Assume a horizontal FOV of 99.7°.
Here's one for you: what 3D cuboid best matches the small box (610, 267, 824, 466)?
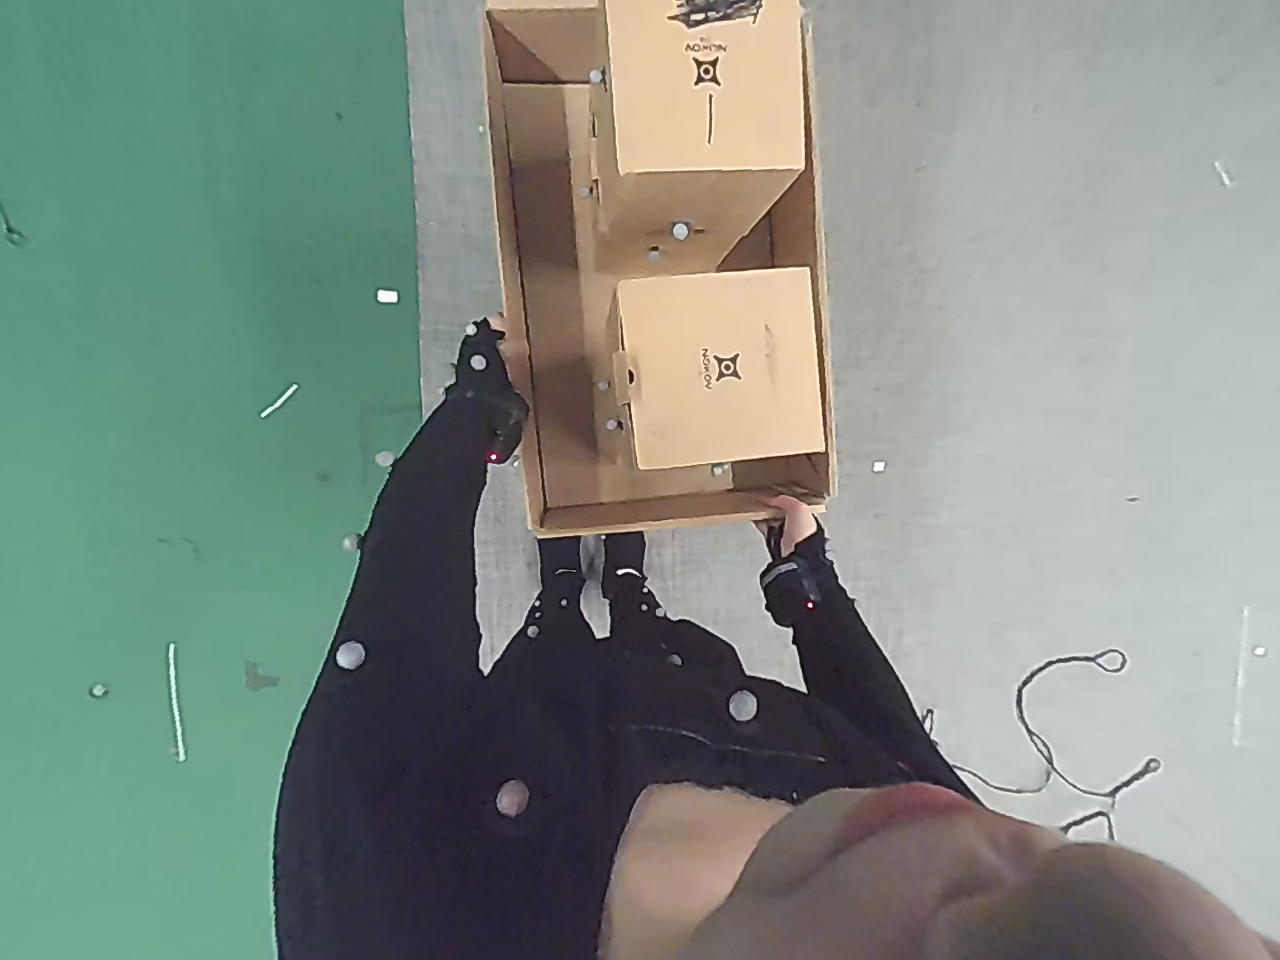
[{"bbox_3d":[0.064,-0.103,0.553,0.179,0.176,0.168,-7,94,-7],"label":"small box"}]

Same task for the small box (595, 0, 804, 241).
[{"bbox_3d":[0.046,-0.354,0.530,0.168,0.176,0.179,-5,97,-6],"label":"small box"}]

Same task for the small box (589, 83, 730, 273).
[{"bbox_3d":[0.026,-0.372,0.693,0.179,0.176,0.168,-4,96,-6],"label":"small box"}]
